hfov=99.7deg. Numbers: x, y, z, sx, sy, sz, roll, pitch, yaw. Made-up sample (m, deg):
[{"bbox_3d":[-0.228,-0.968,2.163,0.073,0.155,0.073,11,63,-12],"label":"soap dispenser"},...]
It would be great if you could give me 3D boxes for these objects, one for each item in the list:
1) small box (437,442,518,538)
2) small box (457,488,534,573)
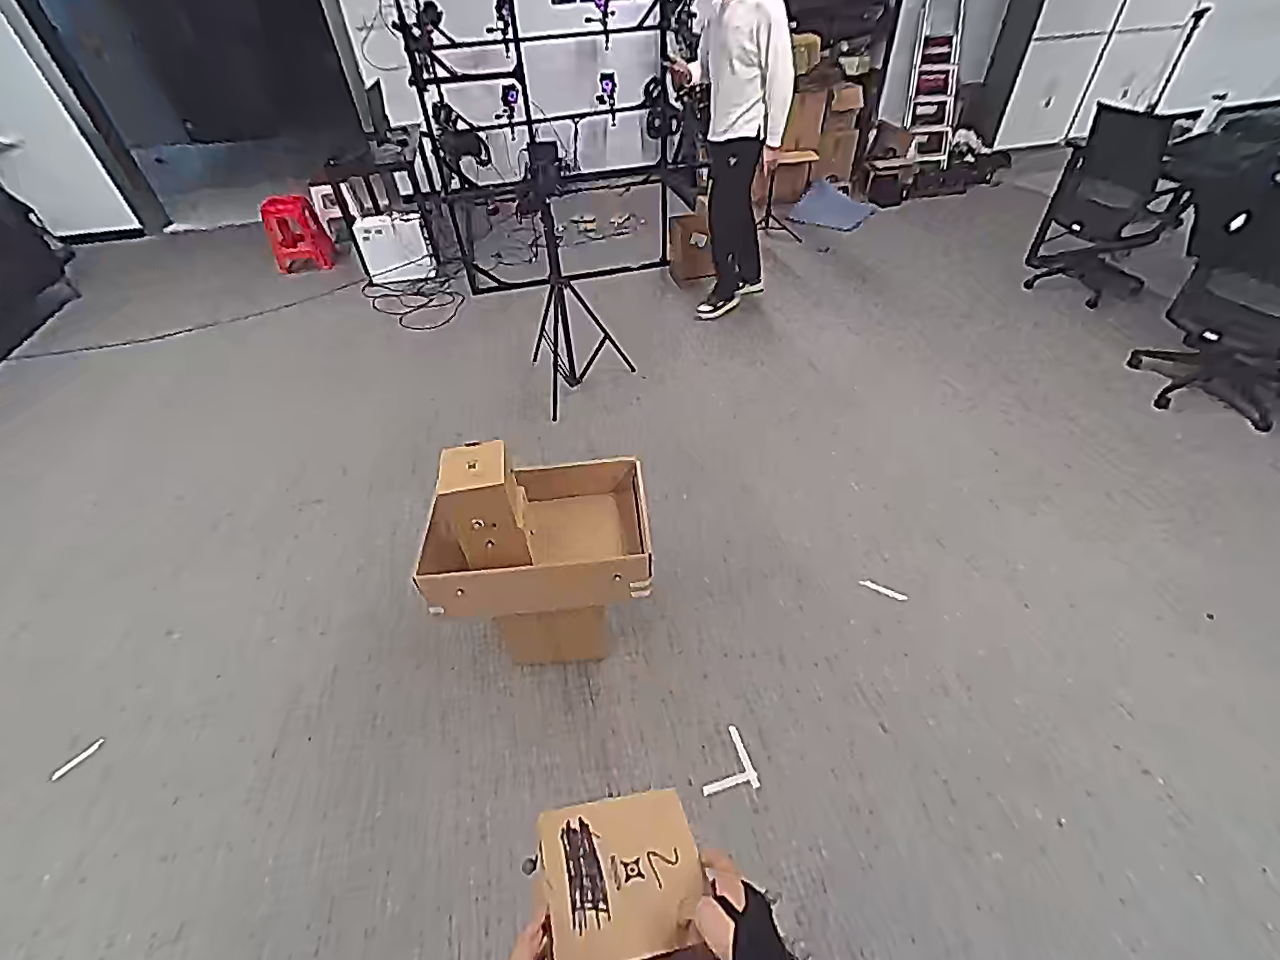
[{"bbox_3d":[-0.423,0.027,1.428,0.168,0.176,0.179,-10,43,-6],"label":"small box"},{"bbox_3d":[-0.405,0.147,1.539,0.179,0.176,0.168,-7,44,-5],"label":"small box"}]
